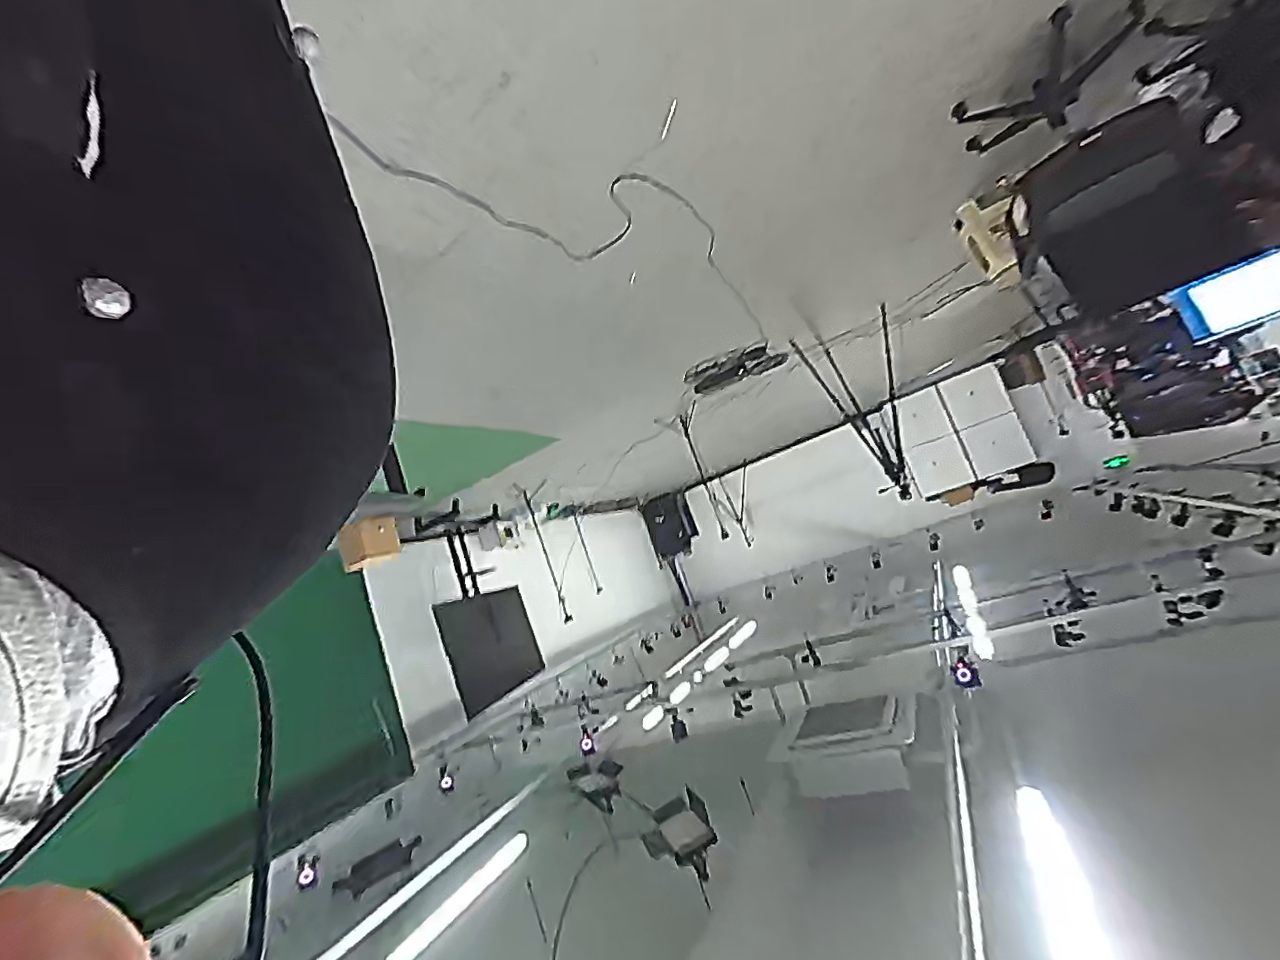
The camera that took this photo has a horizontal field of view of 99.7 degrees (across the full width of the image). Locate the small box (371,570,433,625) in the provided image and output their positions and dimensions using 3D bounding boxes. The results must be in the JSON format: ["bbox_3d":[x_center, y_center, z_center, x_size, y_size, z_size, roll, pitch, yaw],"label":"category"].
[{"bbox_3d":[-1.024,0.497,2.312,0.179,0.176,0.168,-31,166,28],"label":"small box"}]
